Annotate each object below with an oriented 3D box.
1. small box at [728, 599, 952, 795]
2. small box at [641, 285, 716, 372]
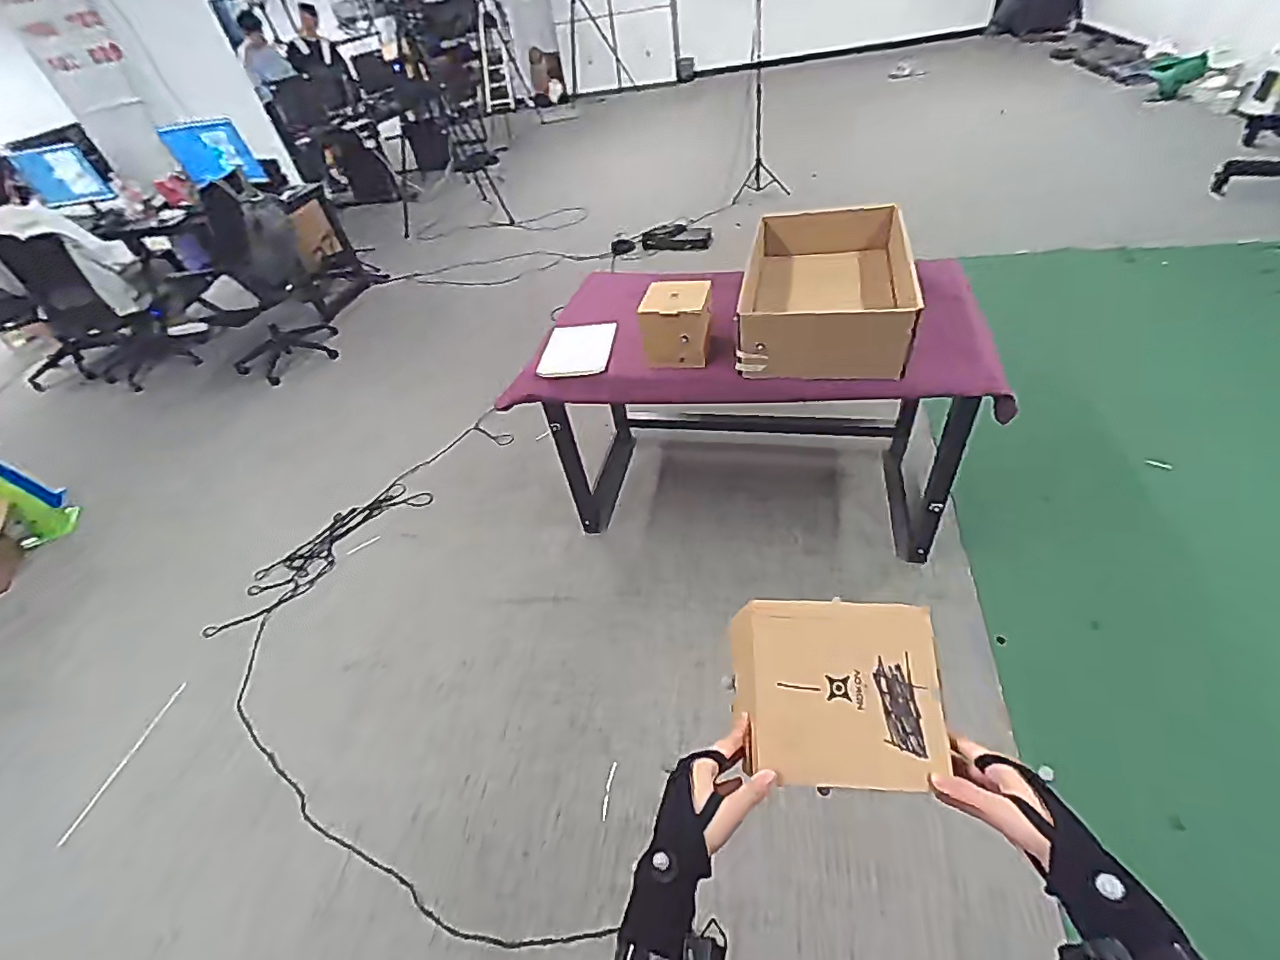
[{"bbox_3d":[0.194,0.228,0.581,0.179,0.176,0.168,2,67,2],"label":"small box"},{"bbox_3d":[0.111,-0.407,1.461,0.168,0.176,0.179,4,44,16],"label":"small box"}]
